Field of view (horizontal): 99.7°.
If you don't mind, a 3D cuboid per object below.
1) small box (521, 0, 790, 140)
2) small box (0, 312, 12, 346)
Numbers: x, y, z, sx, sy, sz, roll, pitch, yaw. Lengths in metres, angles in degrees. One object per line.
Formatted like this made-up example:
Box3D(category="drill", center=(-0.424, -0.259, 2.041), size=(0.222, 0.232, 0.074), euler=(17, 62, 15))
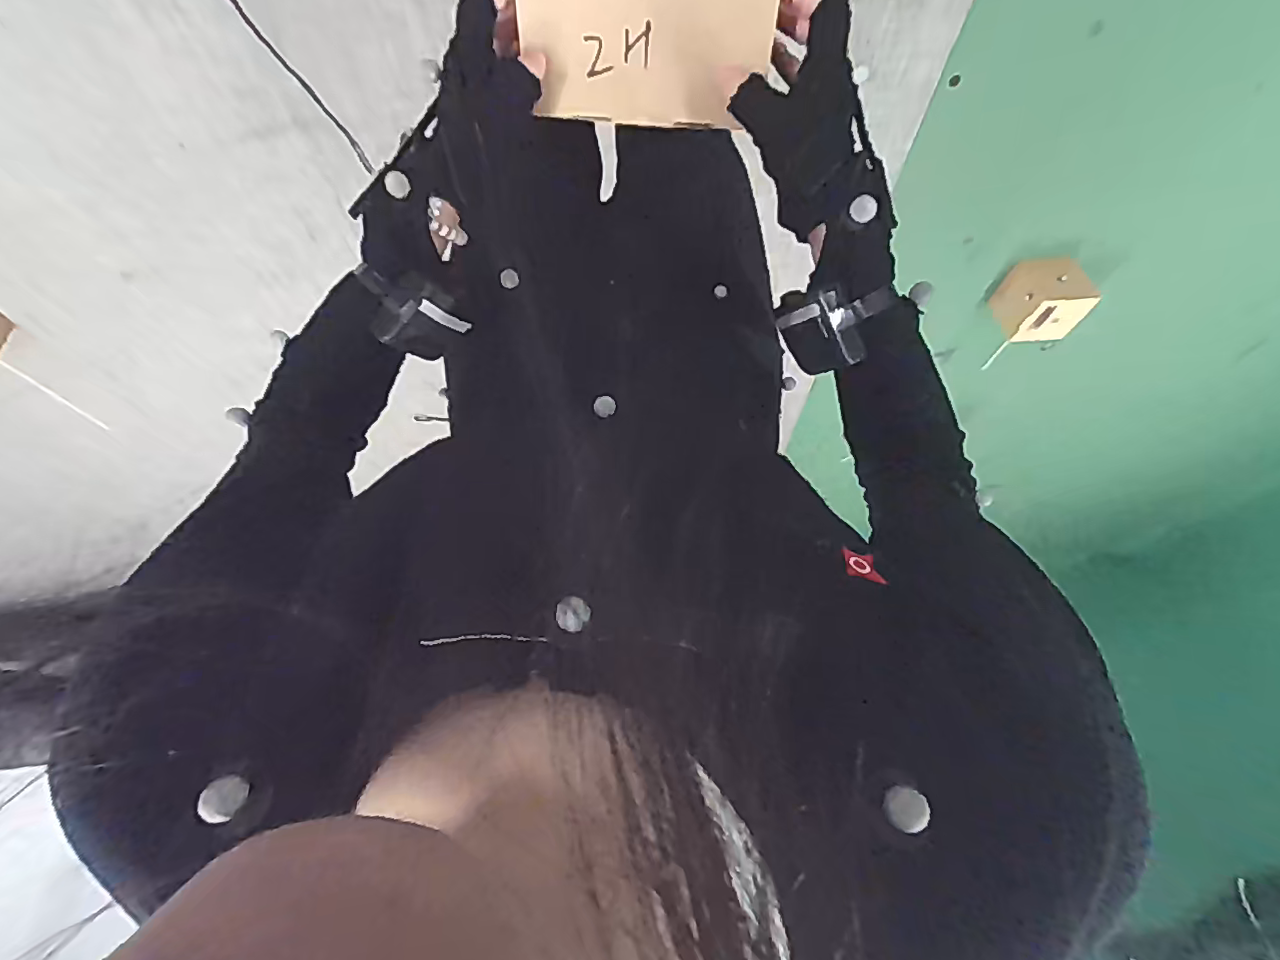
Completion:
Box3D(category="small box", center=(0.016, -0.358, 0.371), size=(0.168, 0.176, 0.179), euler=(6, 135, 3))
Box3D(category="small box", center=(-1.757, -0.386, 1.341), size=(0.168, 0.176, 0.179), euler=(-6, 153, 0))
